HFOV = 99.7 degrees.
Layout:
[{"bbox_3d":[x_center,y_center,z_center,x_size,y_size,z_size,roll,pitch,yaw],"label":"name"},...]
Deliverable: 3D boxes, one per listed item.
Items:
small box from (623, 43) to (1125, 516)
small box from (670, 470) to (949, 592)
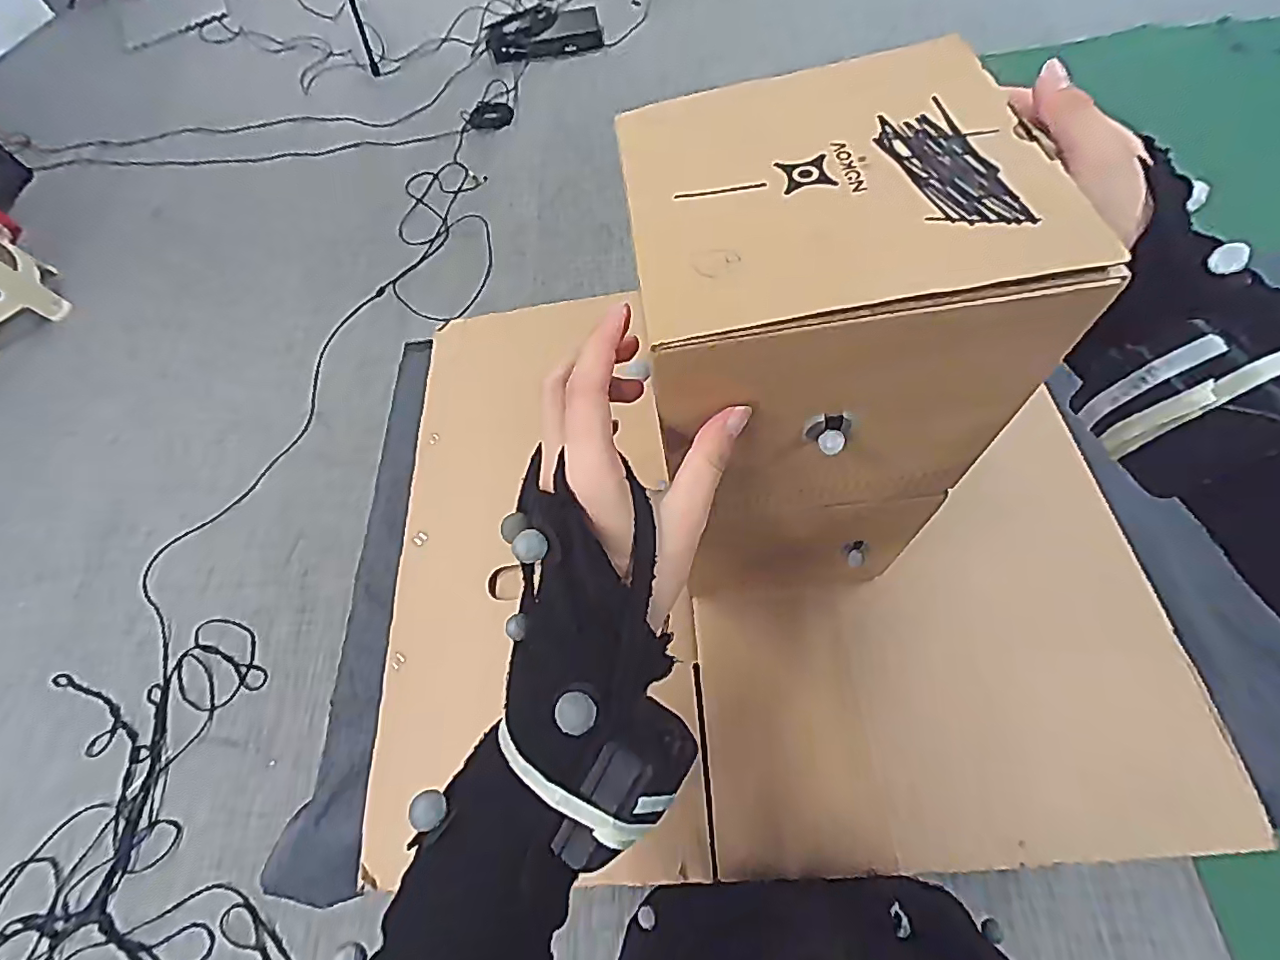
[{"bbox_3d":[0.093,-0.094,0.305,0.179,0.176,0.168,-9,61,5],"label":"small box"},{"bbox_3d":[0.113,-0.015,0.449,0.179,0.176,0.168,-8,61,5],"label":"small box"}]
